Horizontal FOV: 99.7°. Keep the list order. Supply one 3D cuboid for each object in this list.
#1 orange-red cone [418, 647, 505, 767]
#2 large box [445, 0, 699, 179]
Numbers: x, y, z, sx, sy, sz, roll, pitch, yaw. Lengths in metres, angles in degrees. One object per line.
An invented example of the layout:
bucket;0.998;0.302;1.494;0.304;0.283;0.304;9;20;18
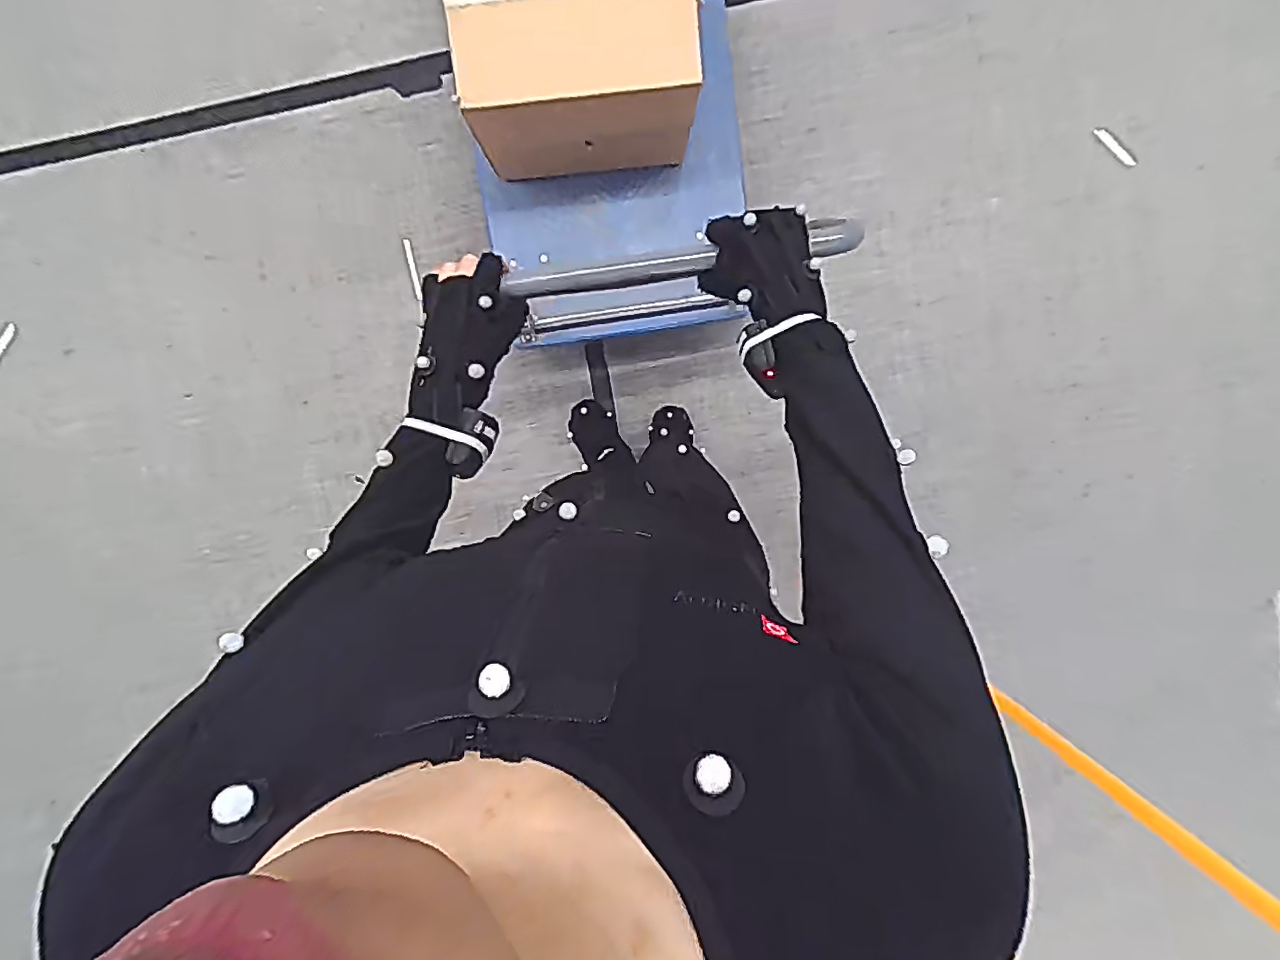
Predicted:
orange-red cone;-0.484;0.598;1.377;0.198;0.360;0.199;-4;97;-1
large box;-0.117;-0.808;1.019;0.408;0.320;0.320;-7;99;0
